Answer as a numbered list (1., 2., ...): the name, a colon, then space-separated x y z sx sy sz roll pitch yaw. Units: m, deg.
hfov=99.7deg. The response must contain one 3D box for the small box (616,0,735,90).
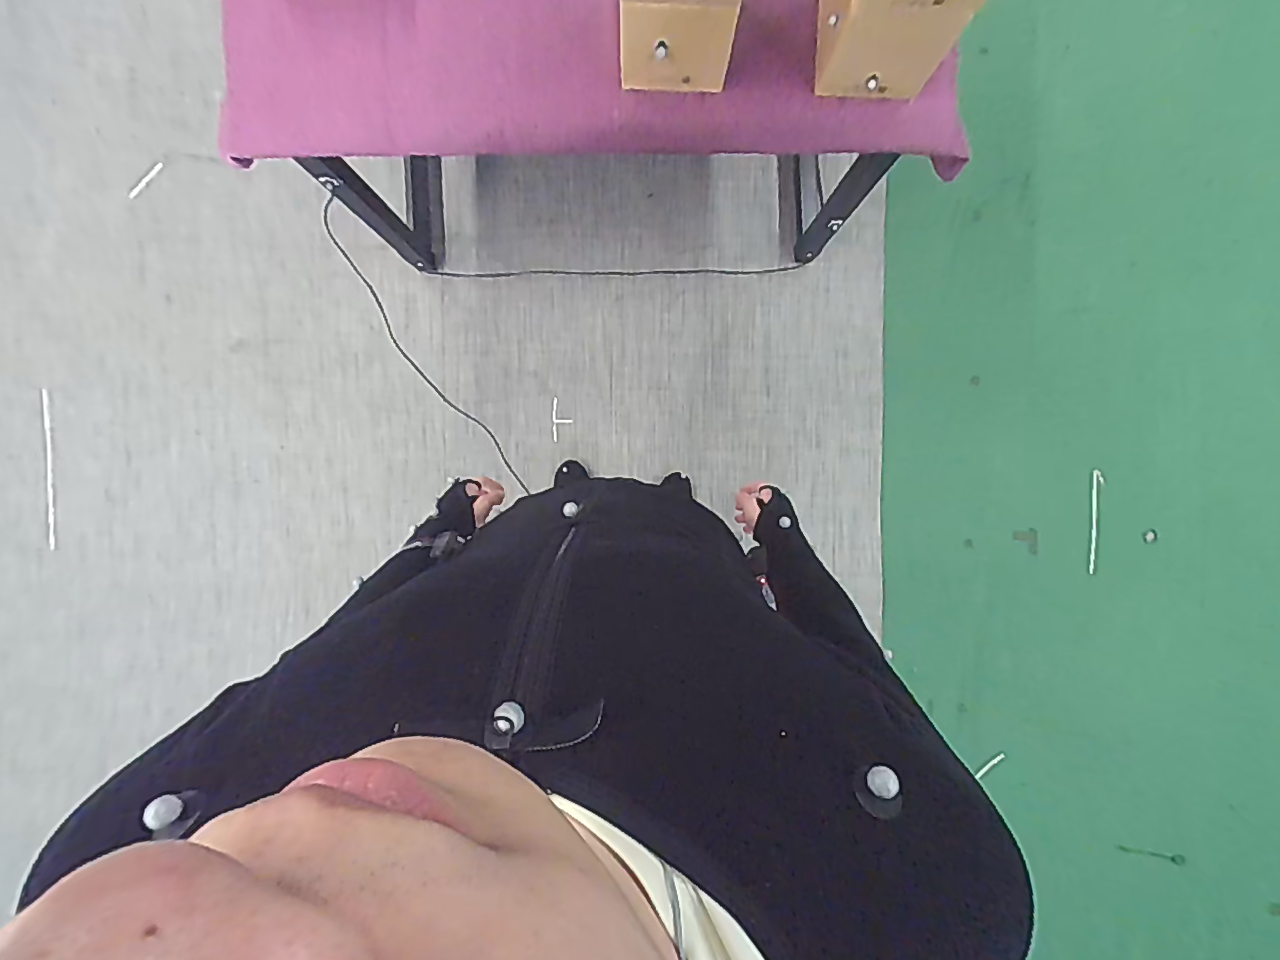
1. small box: 0.053 -0.728 0.814 0.168 0.176 0.179 1 90 0

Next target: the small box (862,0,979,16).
1. small box: 0.373 -0.719 0.649 0.168 0.176 0.179 3 90 1

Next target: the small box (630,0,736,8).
1. small box: 0.056 -0.729 0.650 0.168 0.176 0.179 2 91 0
